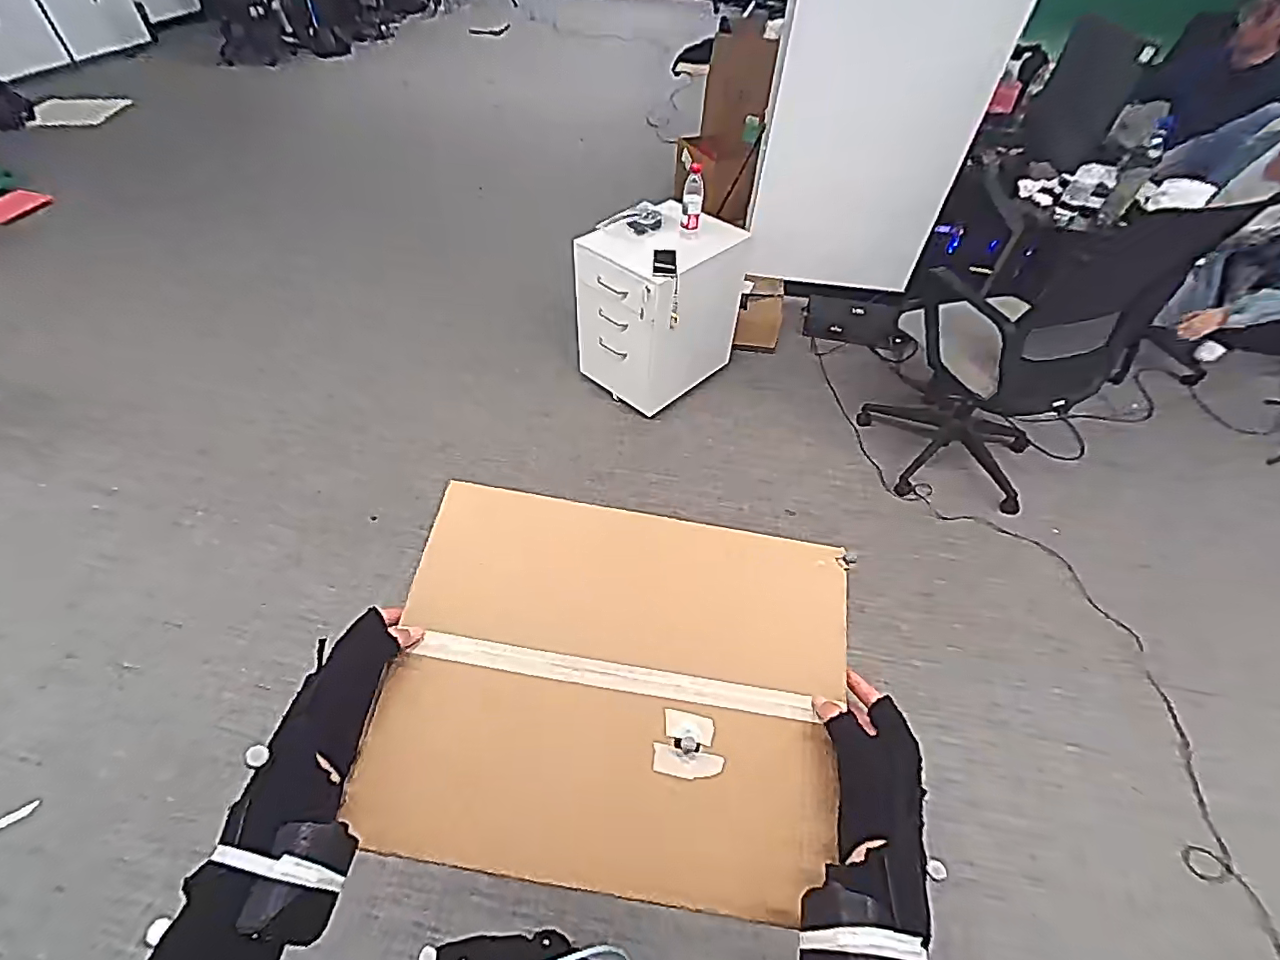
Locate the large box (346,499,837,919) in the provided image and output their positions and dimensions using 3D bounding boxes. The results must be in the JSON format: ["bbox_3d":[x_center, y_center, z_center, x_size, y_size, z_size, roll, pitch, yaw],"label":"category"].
[{"bbox_3d":[-0.031,0.247,0.625,0.408,0.320,0.320,10,65,0],"label":"large box"}]
